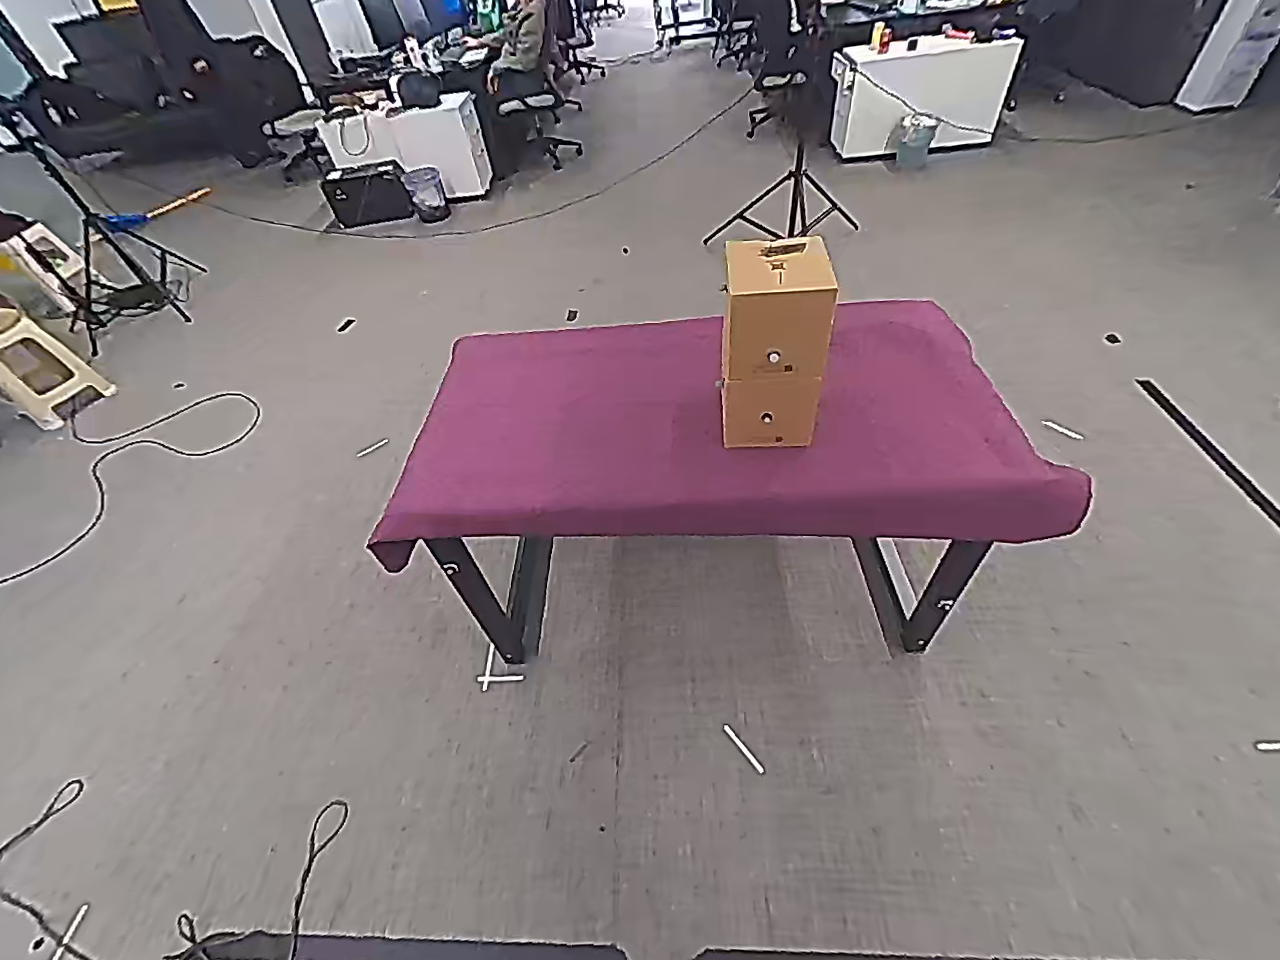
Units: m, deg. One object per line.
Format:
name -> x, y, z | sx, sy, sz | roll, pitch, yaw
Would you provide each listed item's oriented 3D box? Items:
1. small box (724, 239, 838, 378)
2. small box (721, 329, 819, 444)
small box -> 0.233, -0.296, 0.941 | 0.168, 0.176, 0.179 | -1, 48, 7
small box -> 0.246, -0.183, 1.060 | 0.168, 0.176, 0.179 | 0, 48, 6
